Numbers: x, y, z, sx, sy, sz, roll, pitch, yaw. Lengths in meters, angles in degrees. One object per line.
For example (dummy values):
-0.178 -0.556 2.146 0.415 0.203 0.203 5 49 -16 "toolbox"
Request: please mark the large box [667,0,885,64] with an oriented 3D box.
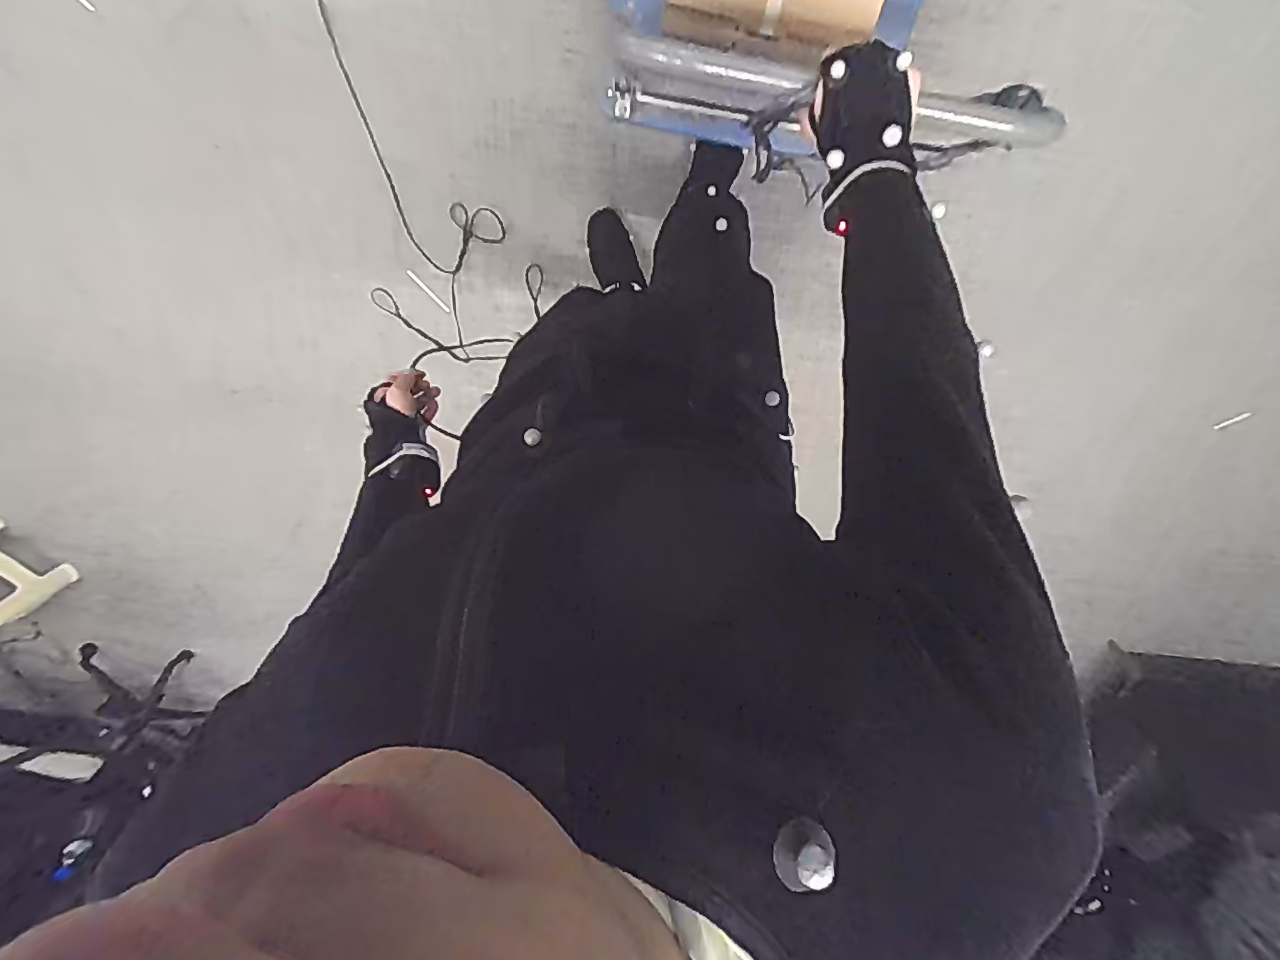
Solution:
0.227 -0.904 0.797 0.320 0.320 0.408 10 123 -6 "large box"
